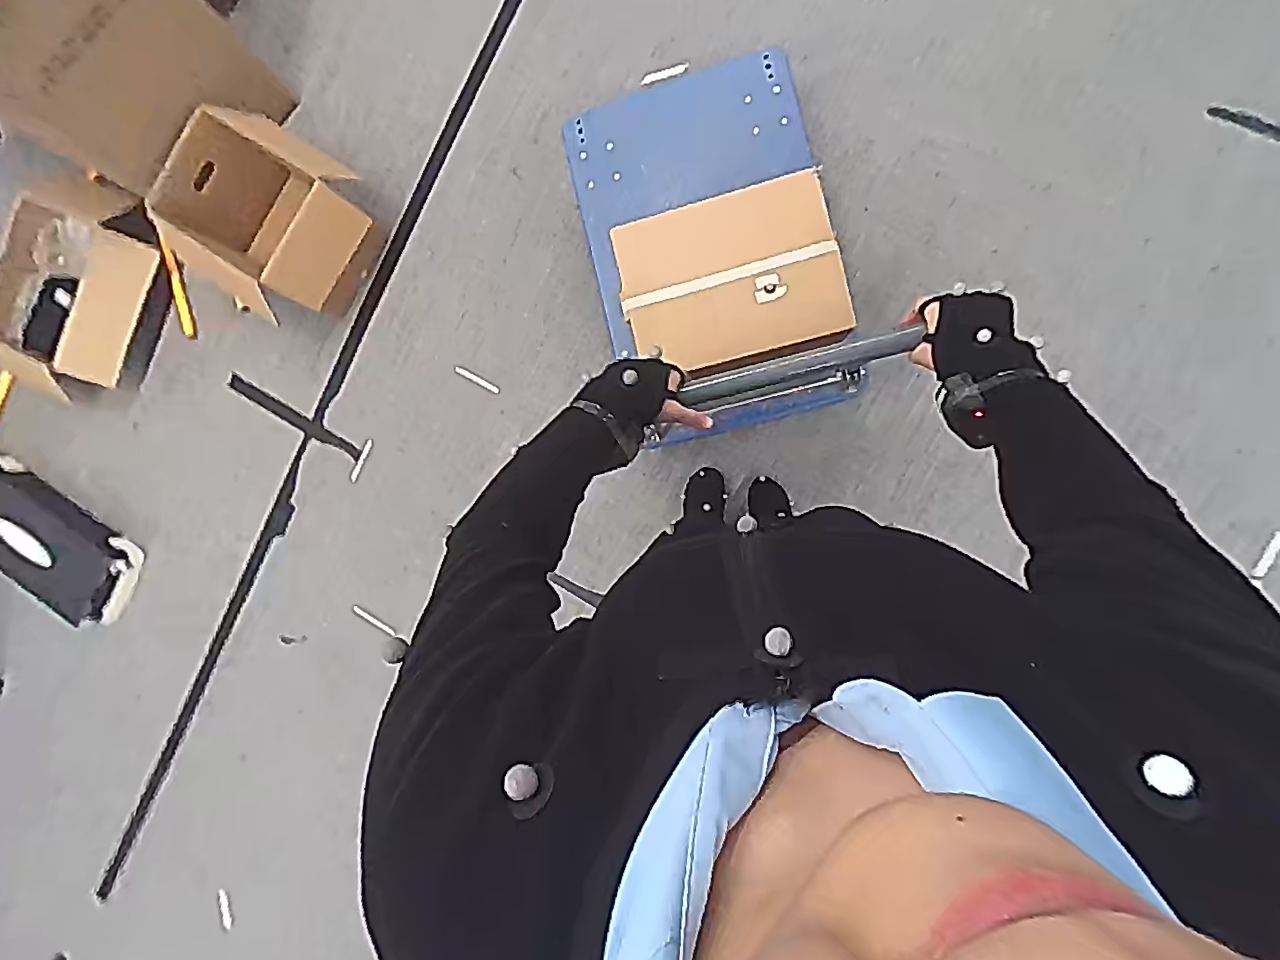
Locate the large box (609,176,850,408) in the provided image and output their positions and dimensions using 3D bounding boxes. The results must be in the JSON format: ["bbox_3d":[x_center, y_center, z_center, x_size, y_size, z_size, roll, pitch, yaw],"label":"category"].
[{"bbox_3d":[0.182,-0.371,1.175,0.408,0.320,0.320,-14,89,7],"label":"large box"}]
